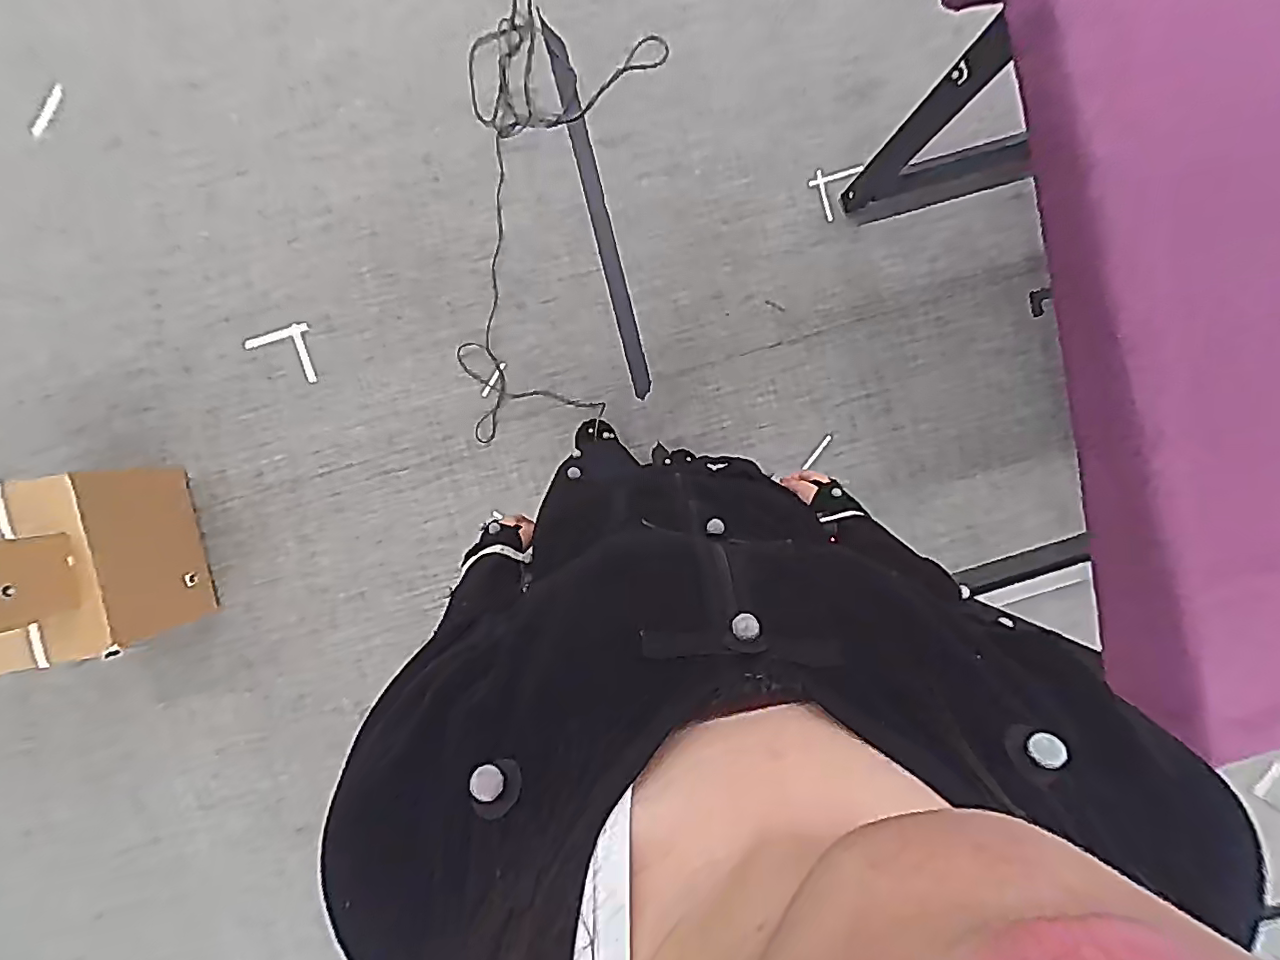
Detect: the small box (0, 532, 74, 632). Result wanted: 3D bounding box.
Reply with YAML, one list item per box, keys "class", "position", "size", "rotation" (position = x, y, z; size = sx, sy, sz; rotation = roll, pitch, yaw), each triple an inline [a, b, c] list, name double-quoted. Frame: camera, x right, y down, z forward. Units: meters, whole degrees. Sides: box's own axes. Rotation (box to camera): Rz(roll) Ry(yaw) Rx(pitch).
- class: "small box"
  position: [-1.296, 0.209, 1.077]
  size: [0.168, 0.176, 0.179]
  rotation: [-7, 93, -2]
